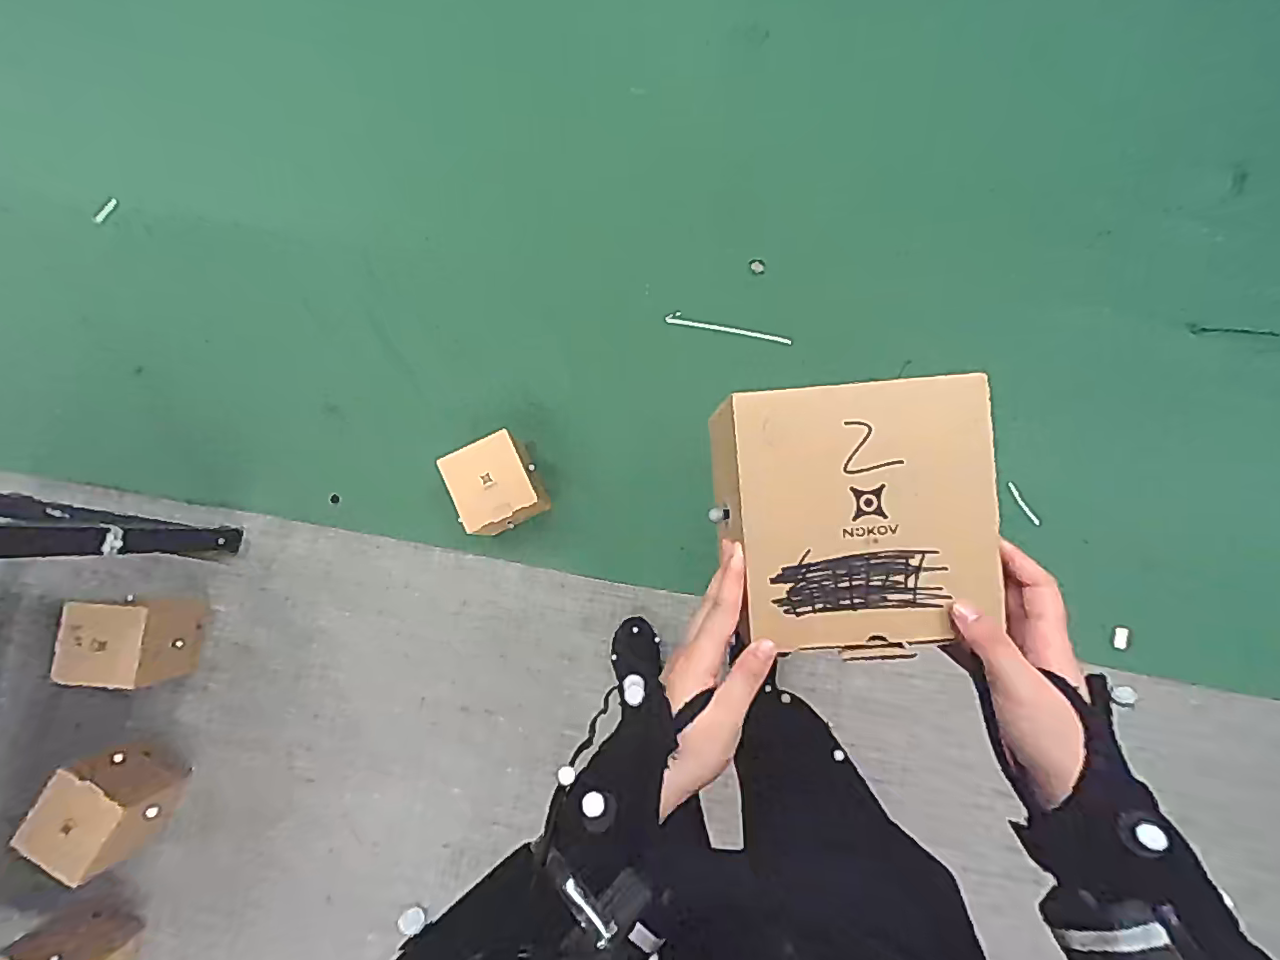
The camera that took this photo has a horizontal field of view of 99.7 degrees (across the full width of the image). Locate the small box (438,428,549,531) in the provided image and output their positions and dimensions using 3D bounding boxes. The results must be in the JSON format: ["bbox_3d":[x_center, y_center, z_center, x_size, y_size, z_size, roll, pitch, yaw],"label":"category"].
[{"bbox_3d":[-0.322,0.007,1.222,0.168,0.176,0.179,-26,85,-3],"label":"small box"}]

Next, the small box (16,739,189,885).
[{"bbox_3d":[-1.125,0.691,1.152,0.168,0.176,0.179,30,86,4],"label":"small box"}]

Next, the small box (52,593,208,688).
[{"bbox_3d":[-1.101,0.344,1.185,0.179,0.176,0.168,5,84,0],"label":"small box"}]

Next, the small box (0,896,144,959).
[{"bbox_3d":[-1.197,1.029,1.119,0.168,0.176,0.179,22,85,2],"label":"small box"}]
